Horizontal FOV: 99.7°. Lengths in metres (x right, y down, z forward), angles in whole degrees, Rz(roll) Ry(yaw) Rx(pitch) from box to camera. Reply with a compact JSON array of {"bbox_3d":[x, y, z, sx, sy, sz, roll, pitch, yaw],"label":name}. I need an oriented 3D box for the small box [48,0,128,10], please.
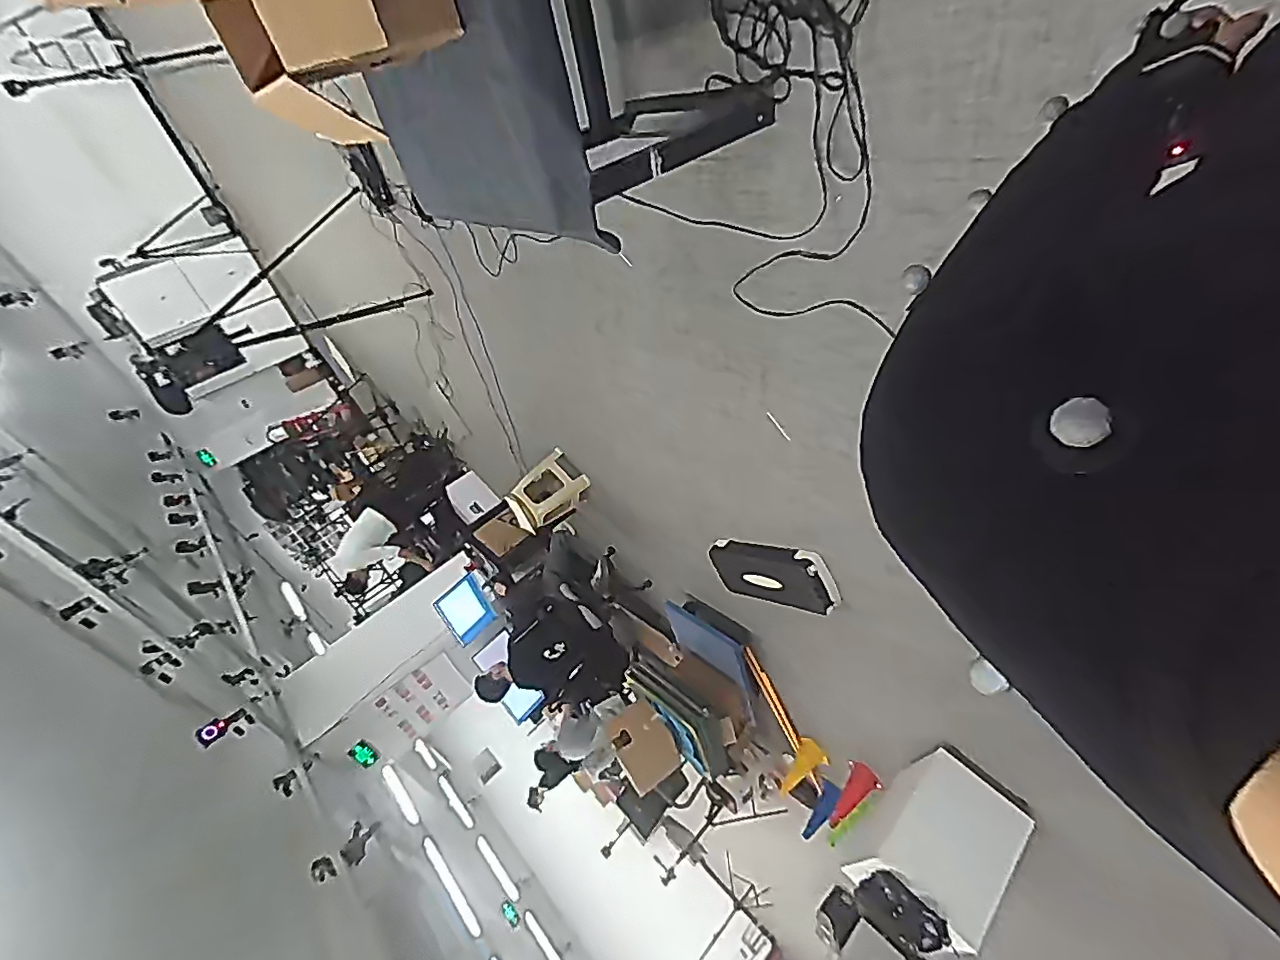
[{"bbox_3d":[-0.739,-0.747,0.707,0.179,0.176,0.168,31,146,39],"label":"small box"}]
